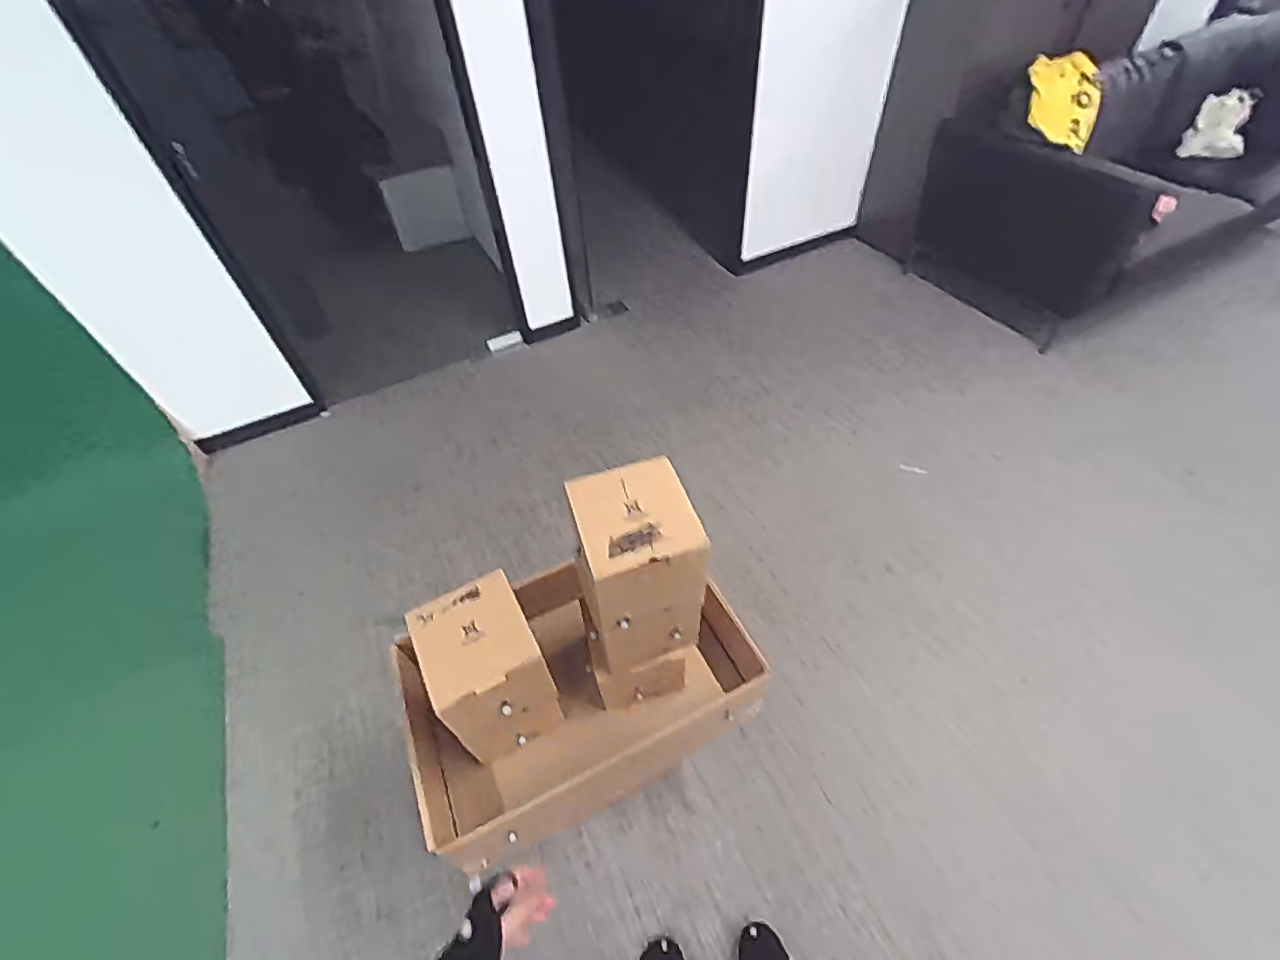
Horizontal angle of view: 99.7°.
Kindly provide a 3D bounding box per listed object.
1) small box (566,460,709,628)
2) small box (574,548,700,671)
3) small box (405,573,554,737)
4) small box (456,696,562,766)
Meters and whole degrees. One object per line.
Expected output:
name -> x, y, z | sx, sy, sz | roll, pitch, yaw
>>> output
small box -> -0.005, 0.102, 0.815 | 0.168, 0.176, 0.179 | -14, 49, -10
small box -> -0.005, 0.209, 0.938 | 0.168, 0.176, 0.179 | -16, 50, -12
small box -> -0.252, 0.290, 0.876 | 0.168, 0.176, 0.179 | -24, 52, -18
small box -> -0.260, 0.392, 1.005 | 0.168, 0.176, 0.179 | -24, 52, -17
